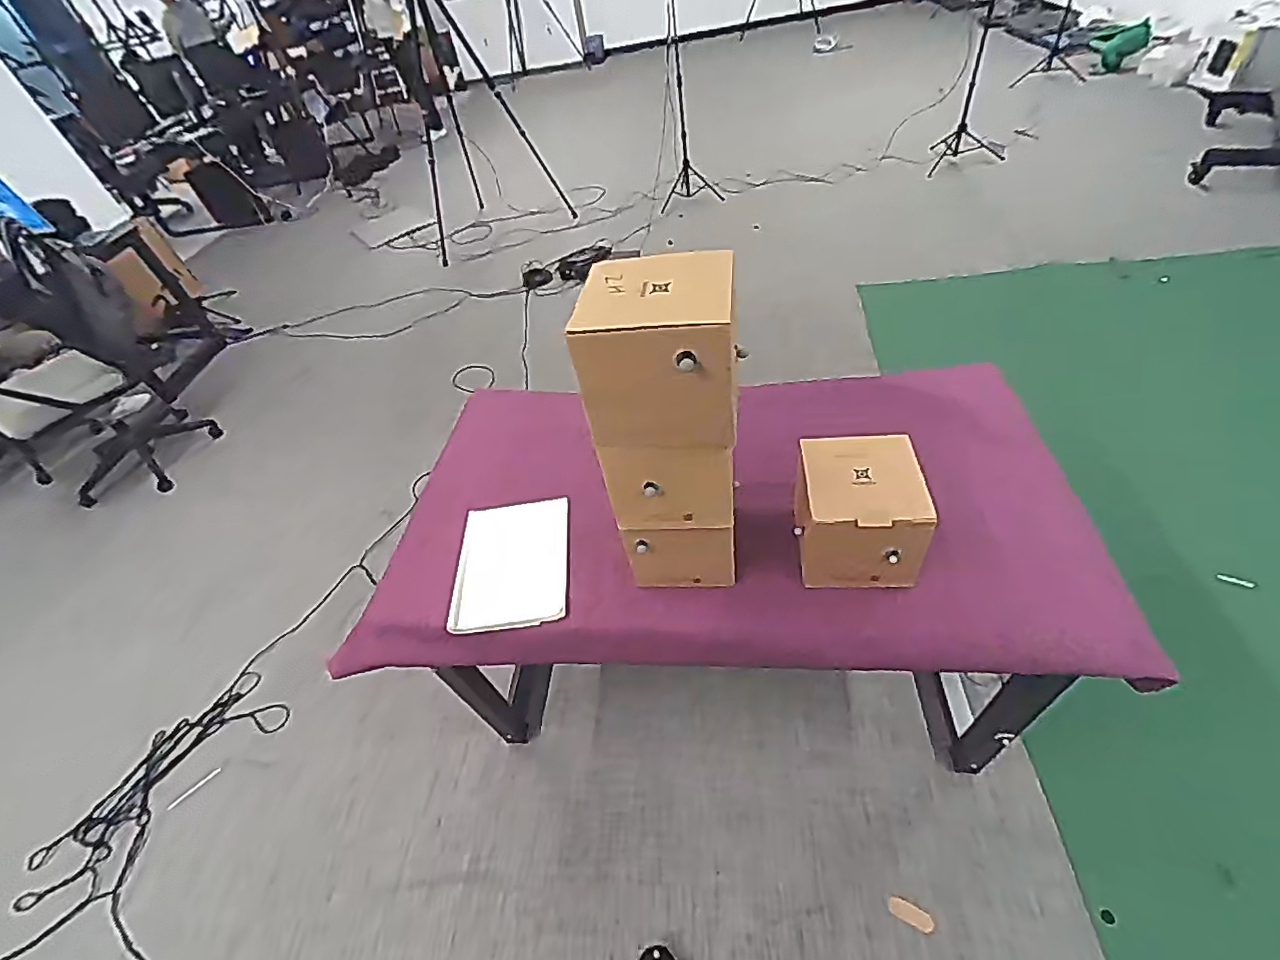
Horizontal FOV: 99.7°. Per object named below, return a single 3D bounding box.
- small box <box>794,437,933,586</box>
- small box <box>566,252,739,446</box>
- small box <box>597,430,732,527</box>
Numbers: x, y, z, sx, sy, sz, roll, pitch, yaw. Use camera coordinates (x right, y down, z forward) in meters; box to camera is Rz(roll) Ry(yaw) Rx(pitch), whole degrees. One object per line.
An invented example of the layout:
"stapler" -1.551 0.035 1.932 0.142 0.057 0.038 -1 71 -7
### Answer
"small box" 0.338 0.053 0.855 0.168 0.176 0.179 -1 46 10
"small box" 0.030 -0.154 0.657 0.179 0.176 0.168 0 46 12
"small box" 0.046 -0.045 0.781 0.168 0.176 0.179 -2 46 11
